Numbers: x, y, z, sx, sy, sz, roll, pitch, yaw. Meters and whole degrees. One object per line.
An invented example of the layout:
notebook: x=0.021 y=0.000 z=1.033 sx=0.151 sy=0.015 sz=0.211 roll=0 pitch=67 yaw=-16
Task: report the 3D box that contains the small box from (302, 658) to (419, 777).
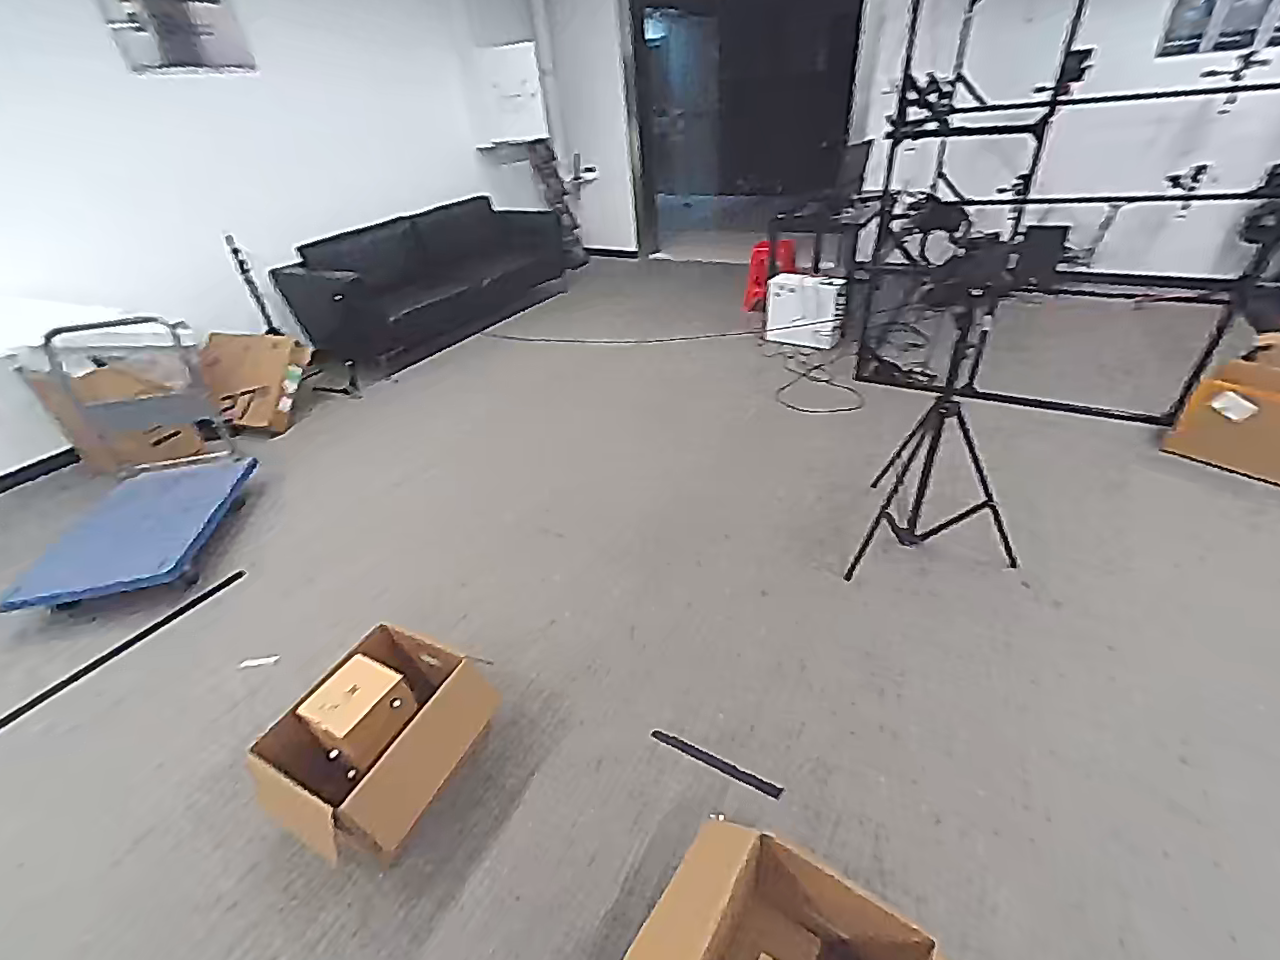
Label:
small box: x=-0.669 y=0.579 z=1.323 sx=0.168 sy=0.176 sz=0.179 roll=13 pitch=39 yaw=26
